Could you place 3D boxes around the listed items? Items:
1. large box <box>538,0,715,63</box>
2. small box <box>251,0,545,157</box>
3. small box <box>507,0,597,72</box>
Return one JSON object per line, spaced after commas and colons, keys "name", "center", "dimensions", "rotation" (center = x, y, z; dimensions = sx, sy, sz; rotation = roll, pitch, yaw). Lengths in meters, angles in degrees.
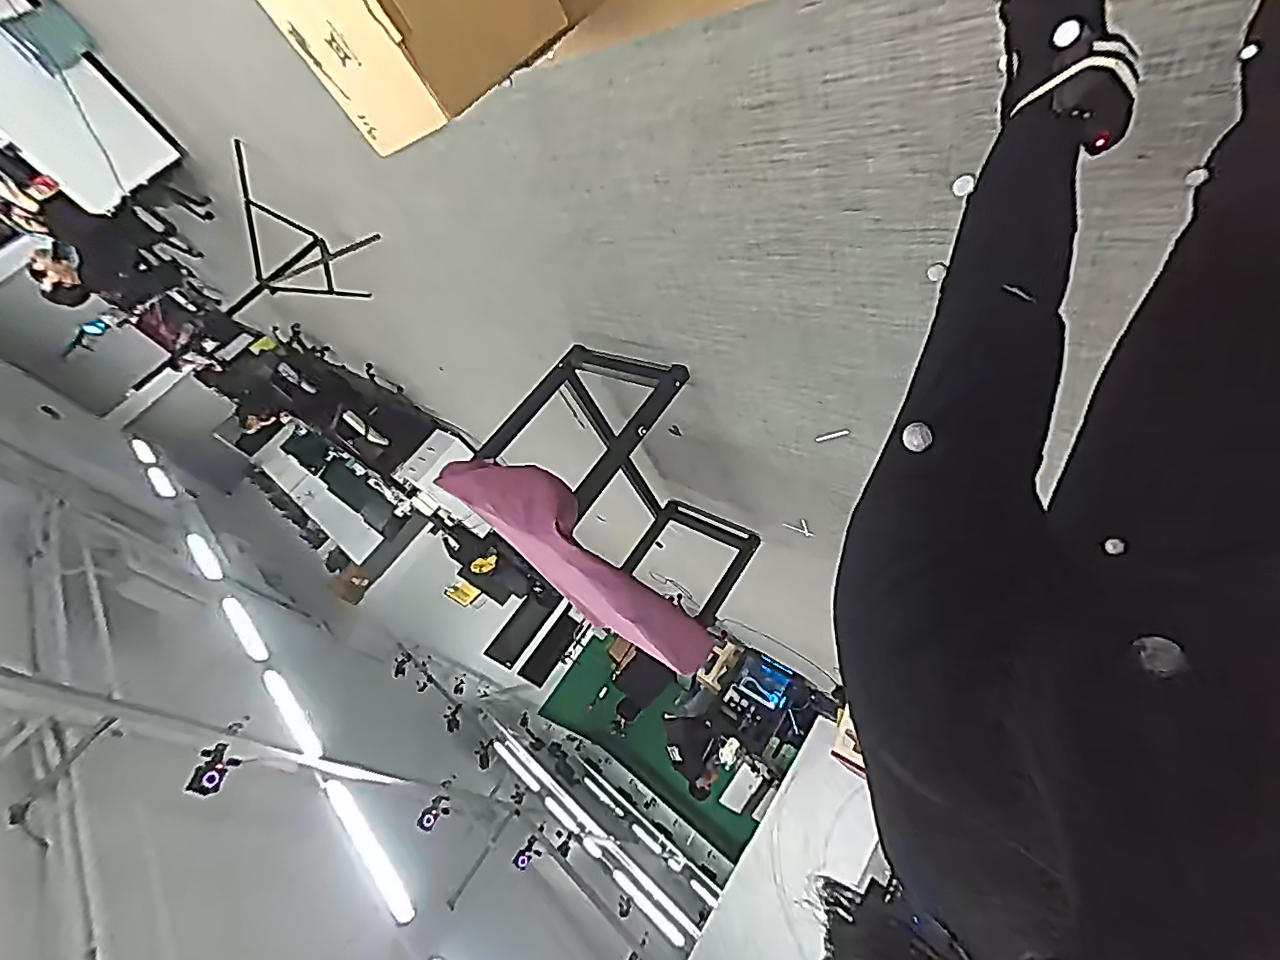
{"name": "large box", "center": [0.027, -0.749, 0.589], "dimensions": [0.408, 0.320, 0.320], "rotation": [21, 157, 40]}
{"name": "small box", "center": [-0.213, -0.435, 0.490], "dimensions": [0.179, 0.176, 0.168], "rotation": [20, 156, 45]}
{"name": "small box", "center": [-0.171, -0.578, 0.595], "dimensions": [0.168, 0.176, 0.179], "rotation": [19, 154, 40]}
